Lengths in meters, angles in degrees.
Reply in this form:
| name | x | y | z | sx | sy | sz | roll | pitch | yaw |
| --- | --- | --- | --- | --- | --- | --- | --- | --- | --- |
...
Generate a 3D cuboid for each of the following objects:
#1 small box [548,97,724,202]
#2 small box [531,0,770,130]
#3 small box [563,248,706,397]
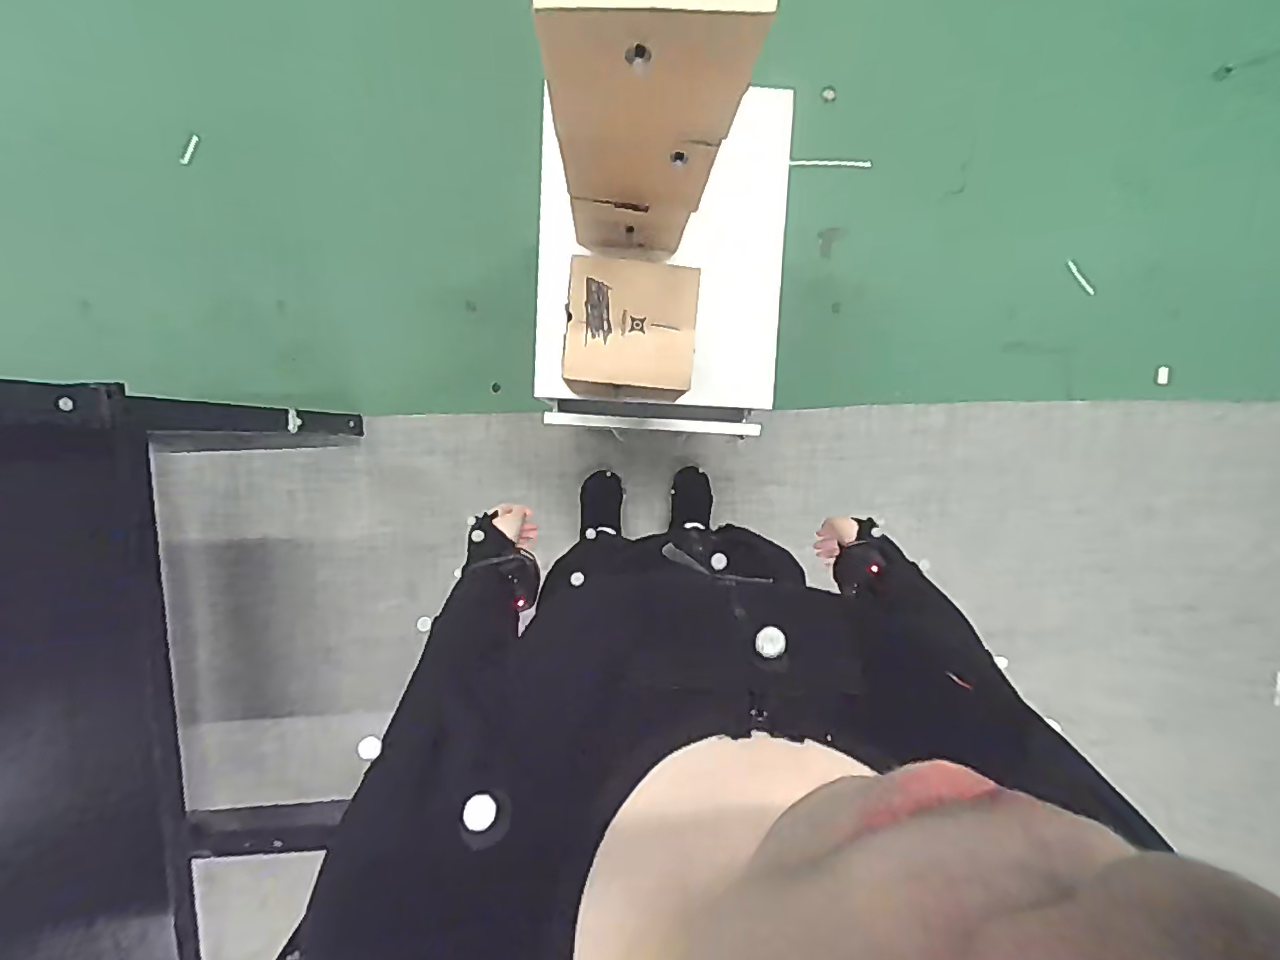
| name | x | y | z | sx | sy | sz | roll | pitch | yaw |
| --- | --- | --- | --- | --- | --- | --- | --- | --- | --- |
| small box | 0.001 | -0.435 | 0.605 | 0.179 | 0.176 | 0.168 | 6 | 95 | -4 |
| small box | 0.004 | -0.415 | 0.441 | 0.179 | 0.176 | 0.168 | -2 | 96 | -3 |
| small box | -0.011 | -0.215 | 0.783 | 0.179 | 0.176 | 0.168 | 5 | 93 | -4 |
